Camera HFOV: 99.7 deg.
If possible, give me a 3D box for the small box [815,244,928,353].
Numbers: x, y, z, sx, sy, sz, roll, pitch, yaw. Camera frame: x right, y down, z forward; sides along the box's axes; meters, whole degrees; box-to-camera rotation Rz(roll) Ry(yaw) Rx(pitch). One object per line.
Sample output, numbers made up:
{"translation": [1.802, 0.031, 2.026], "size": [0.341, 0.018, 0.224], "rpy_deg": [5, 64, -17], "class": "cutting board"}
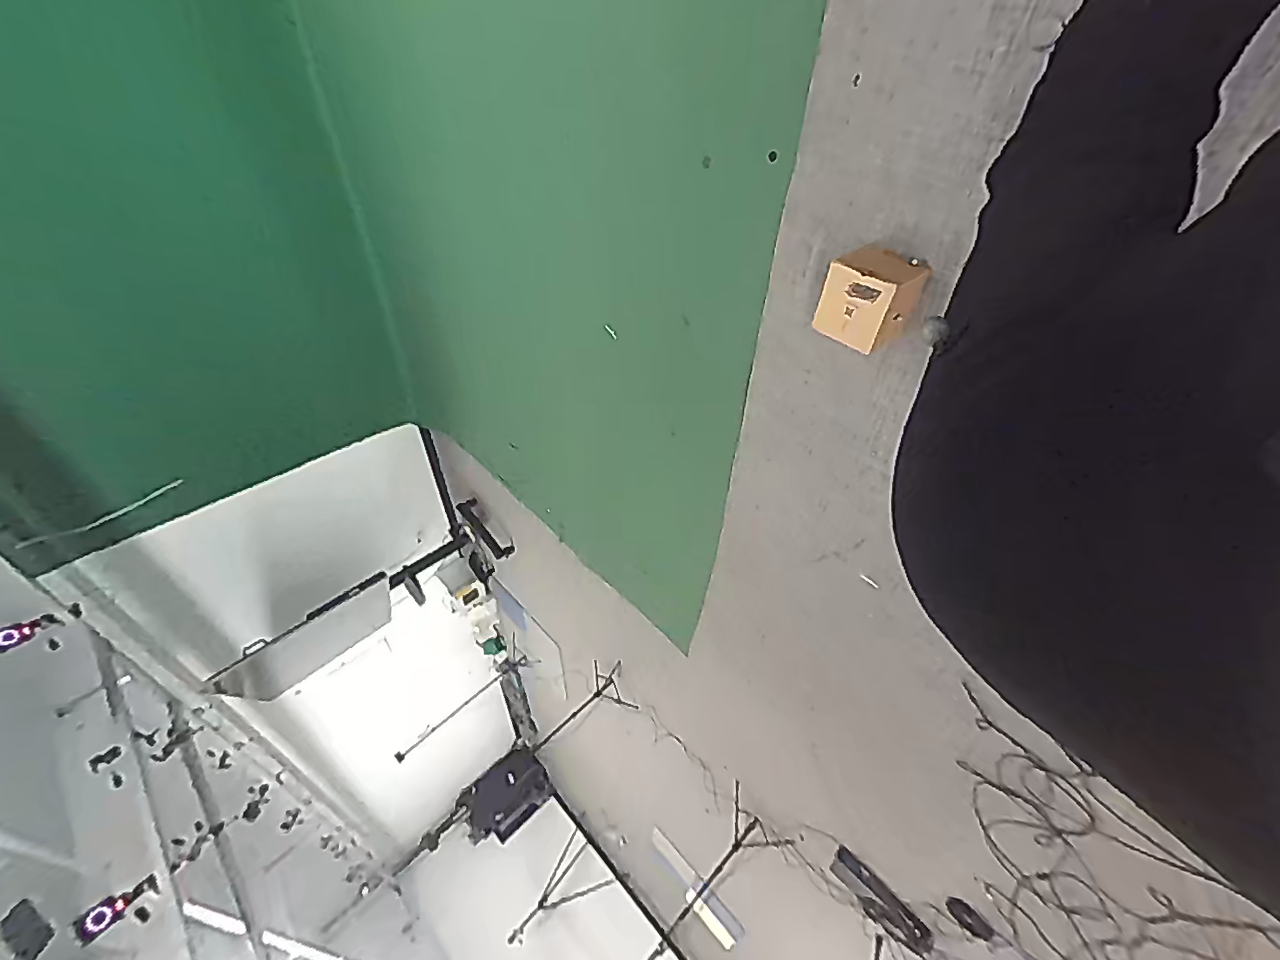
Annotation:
{"translation": [0.556, -0.441, 1.297], "size": [0.168, 0.176, 0.179], "rpy_deg": [38, 144, 29], "class": "small box"}
